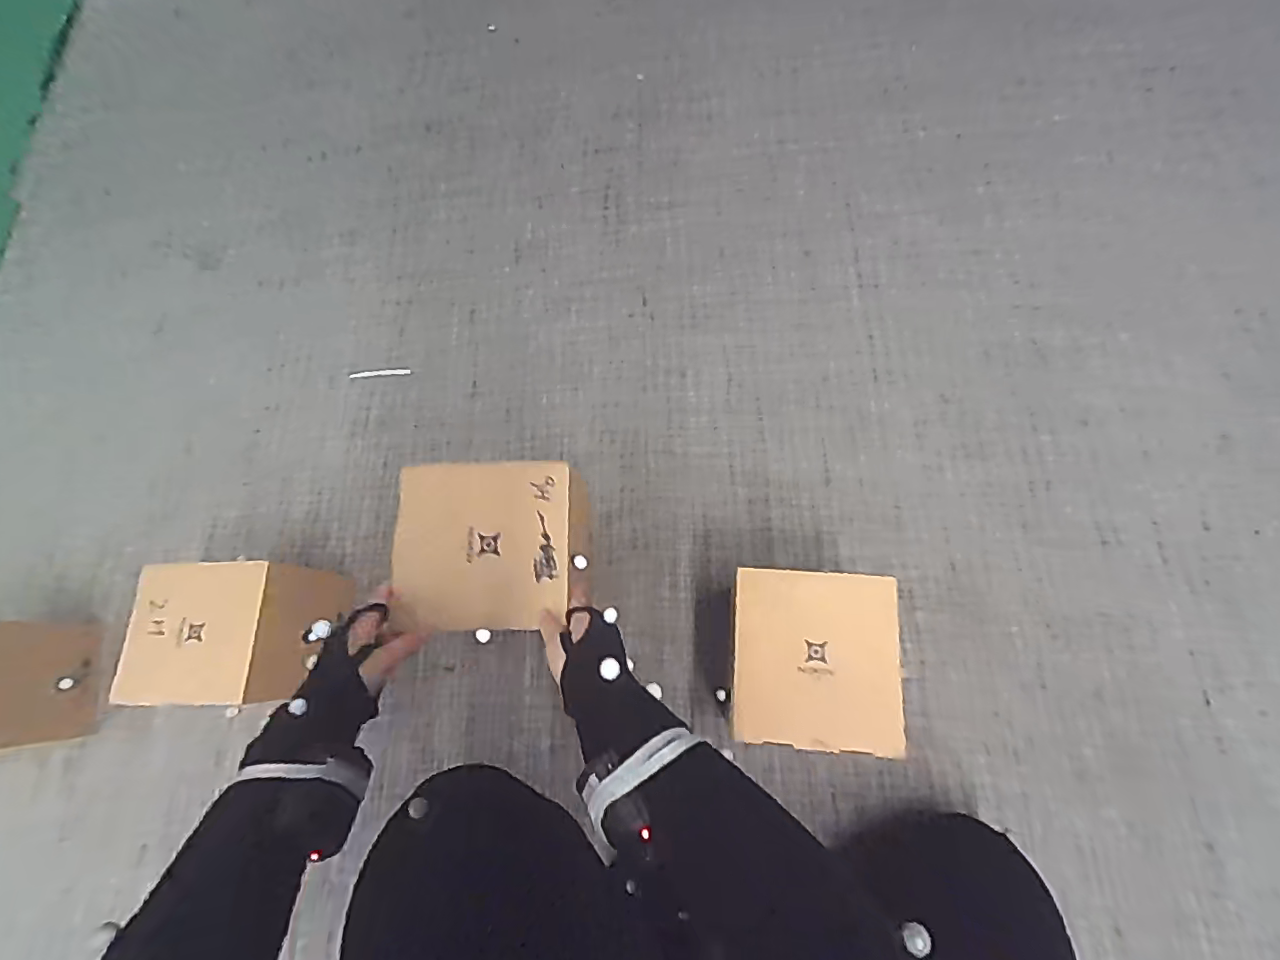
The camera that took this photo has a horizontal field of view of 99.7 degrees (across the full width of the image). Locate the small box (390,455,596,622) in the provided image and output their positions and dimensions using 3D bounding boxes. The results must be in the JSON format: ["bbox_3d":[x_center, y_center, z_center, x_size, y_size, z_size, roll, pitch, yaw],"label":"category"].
[{"bbox_3d":[-0.149,0.074,0.608,0.179,0.176,0.168,-1,77,3],"label":"small box"}]

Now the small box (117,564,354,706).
[{"bbox_3d":[-0.520,0.206,0.726,0.179,0.176,0.168,-2,72,7],"label":"small box"}]

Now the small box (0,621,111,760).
[{"bbox_3d":[-0.906,0.300,0.749,0.179,0.176,0.168,-14,71,3],"label":"small box"}]
